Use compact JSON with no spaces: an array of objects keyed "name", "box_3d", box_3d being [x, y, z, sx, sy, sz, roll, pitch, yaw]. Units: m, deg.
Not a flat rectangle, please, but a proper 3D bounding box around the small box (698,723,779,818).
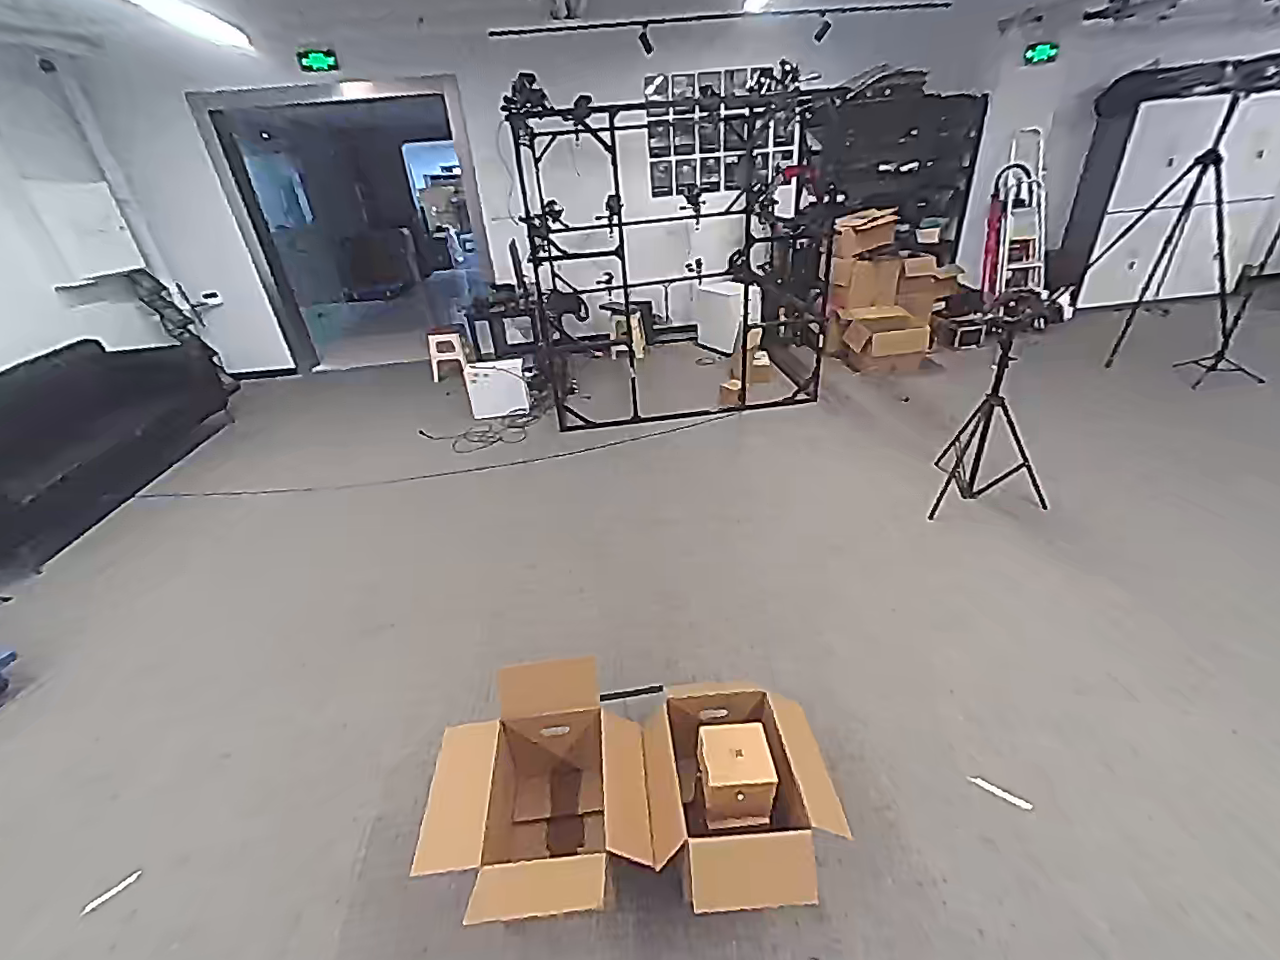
[{"name":"small box","box_3d":[0.257,0.781,1.454,0.179,0.176,0.168,-3,32,-3]}]
